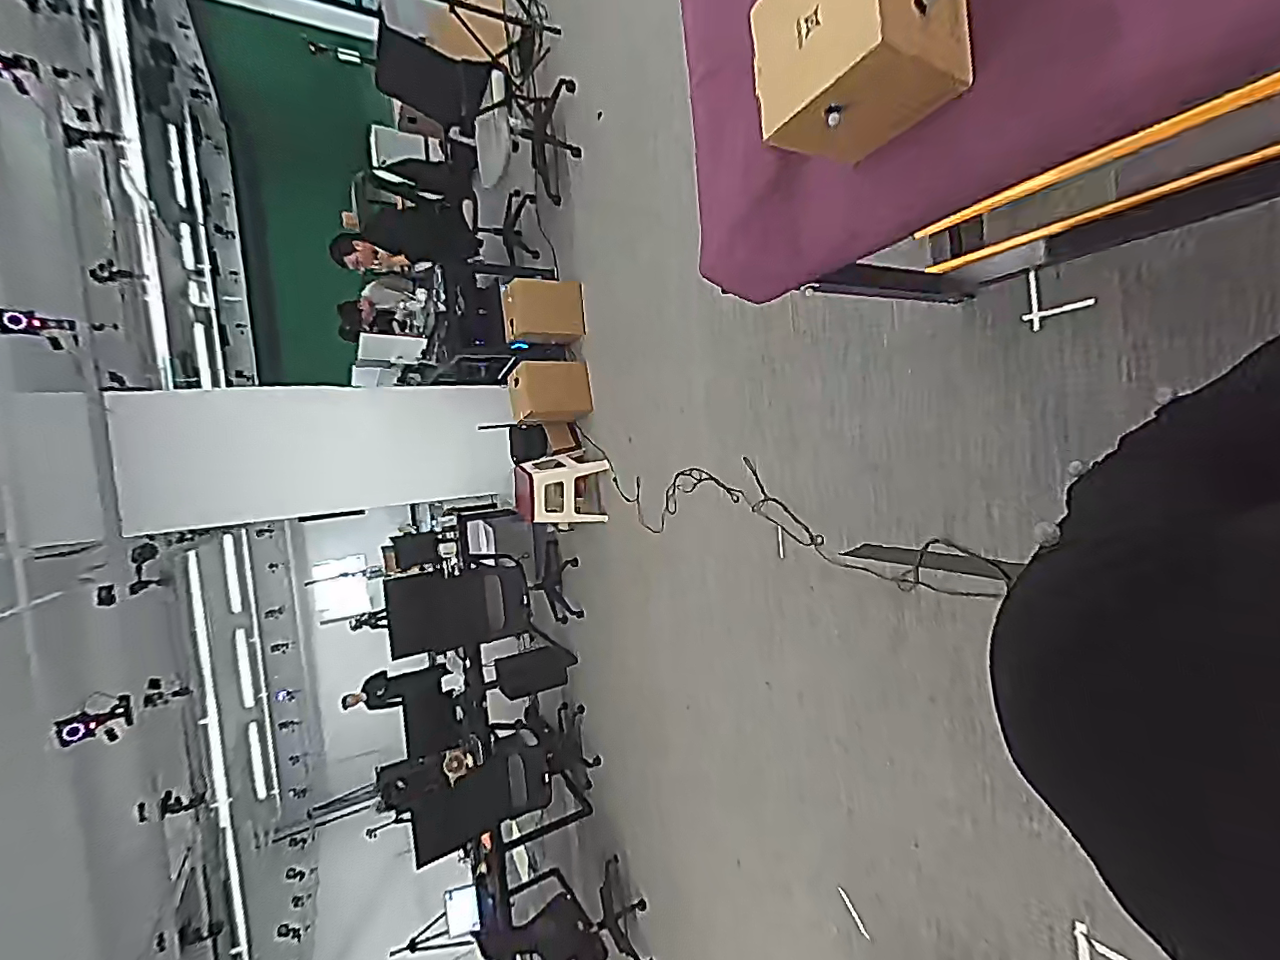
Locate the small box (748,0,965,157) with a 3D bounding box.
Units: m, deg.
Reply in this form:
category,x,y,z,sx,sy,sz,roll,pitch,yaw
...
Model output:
category,x,y,z,sx,sy,sz,roll,pitch,yaw
small box,0.256,-0.518,0.637,0.179,0.176,0.168,-5,92,61
